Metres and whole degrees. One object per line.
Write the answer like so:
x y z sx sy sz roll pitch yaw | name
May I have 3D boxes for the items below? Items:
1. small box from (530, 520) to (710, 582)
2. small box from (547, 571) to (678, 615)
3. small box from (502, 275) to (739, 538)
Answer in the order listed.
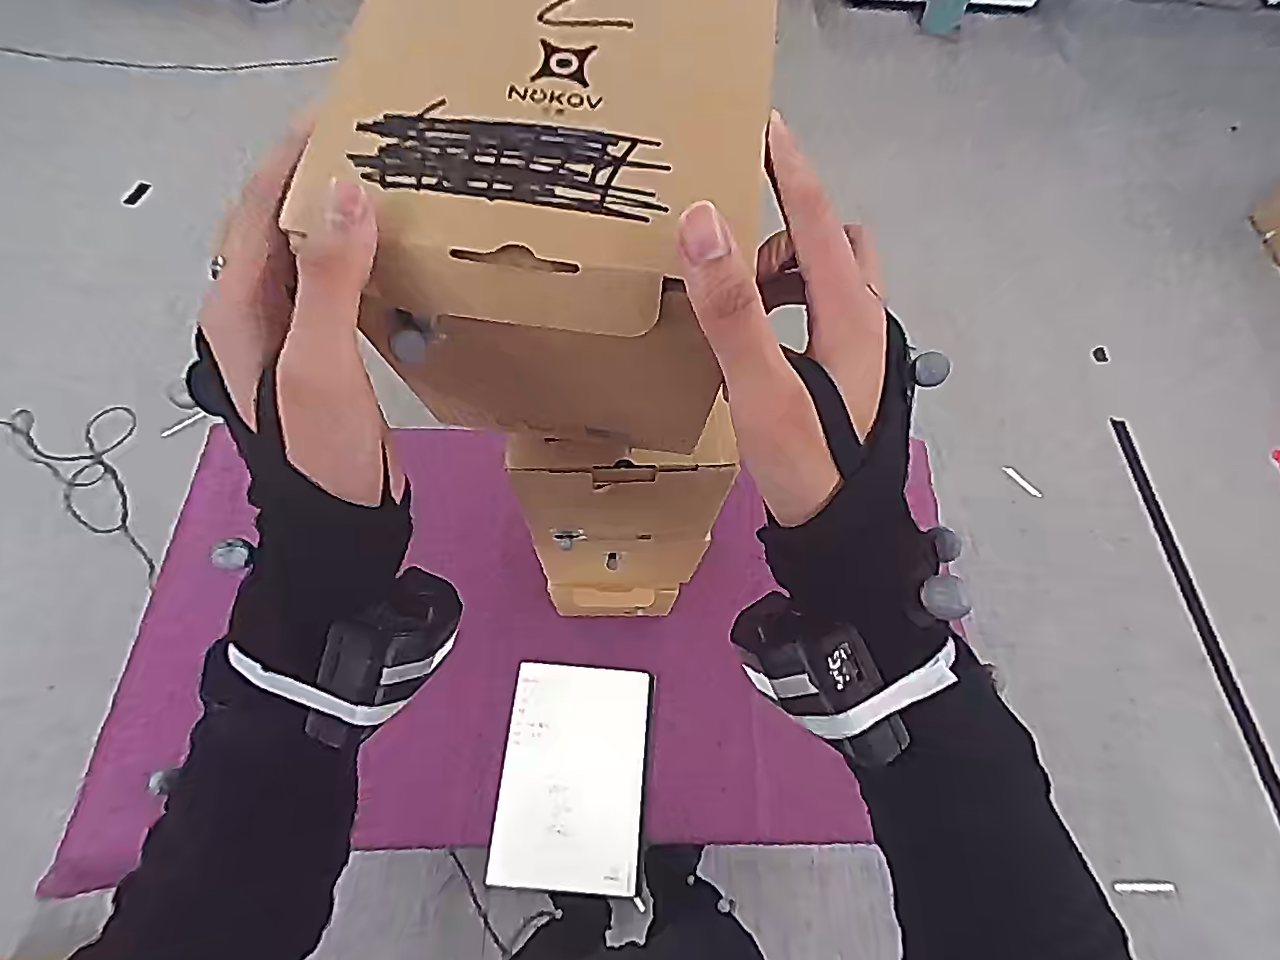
-0.023 0.019 0.621 0.179 0.176 0.168 0 66 -4 | small box
-0.035 0.091 0.768 0.168 0.176 0.179 2 65 -3 | small box
-0.017 -0.052 0.472 0.168 0.176 0.179 -1 65 -4 | small box
